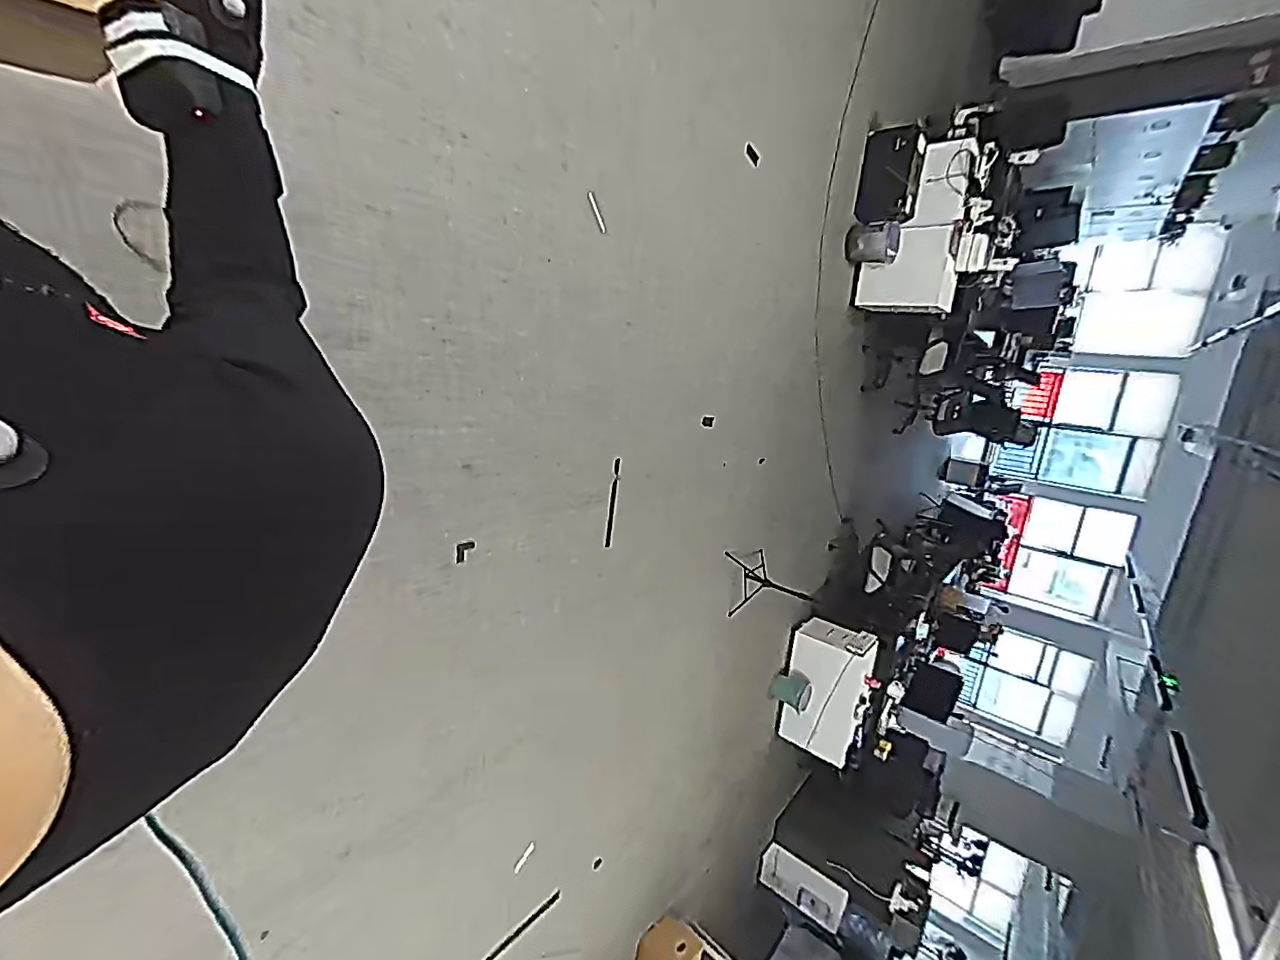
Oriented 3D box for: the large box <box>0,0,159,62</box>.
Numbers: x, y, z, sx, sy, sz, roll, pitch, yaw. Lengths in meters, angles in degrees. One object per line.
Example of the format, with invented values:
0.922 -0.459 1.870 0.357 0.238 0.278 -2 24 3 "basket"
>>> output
-0.571 -0.473 0.270 0.408 0.320 0.320 -20 124 -48 "large box"
